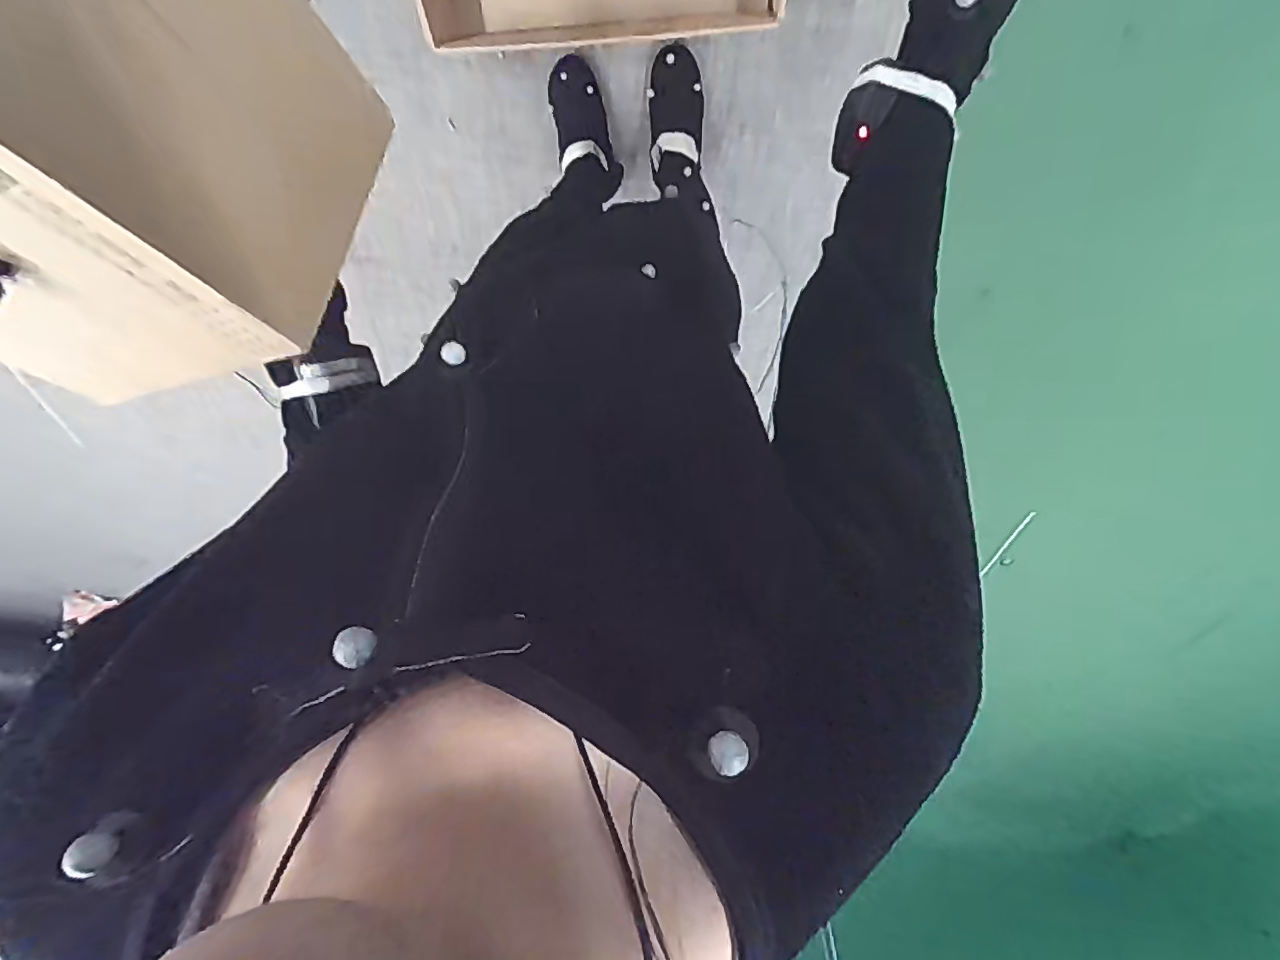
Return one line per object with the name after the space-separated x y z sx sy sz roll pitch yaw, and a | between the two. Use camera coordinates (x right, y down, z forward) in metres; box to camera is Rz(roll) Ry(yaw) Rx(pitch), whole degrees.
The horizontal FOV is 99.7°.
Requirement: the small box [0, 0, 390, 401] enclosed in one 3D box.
-0.256 -0.163 0.255 0.176 0.179 0.168 -6 154 21 | small box
